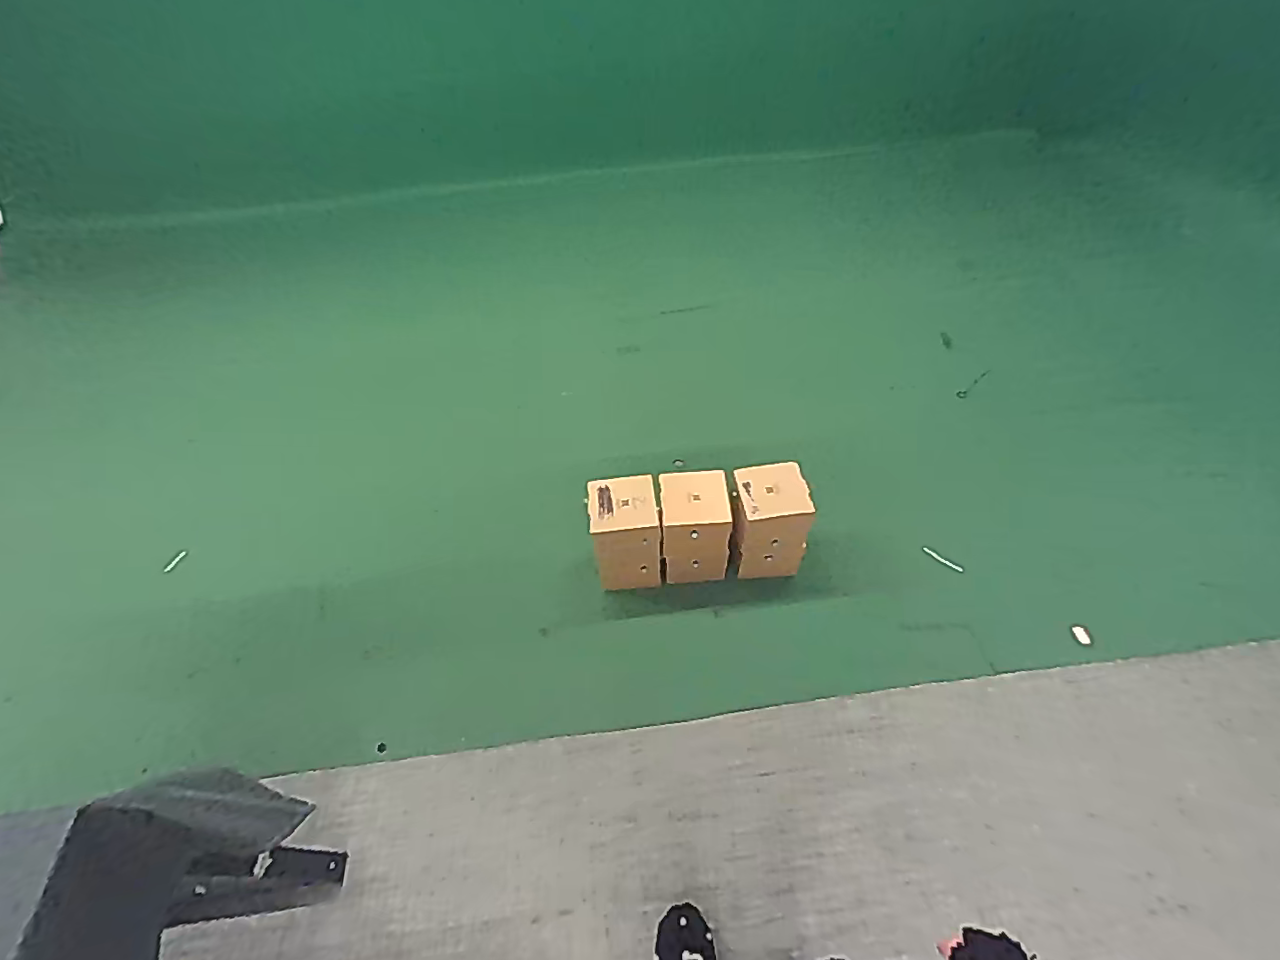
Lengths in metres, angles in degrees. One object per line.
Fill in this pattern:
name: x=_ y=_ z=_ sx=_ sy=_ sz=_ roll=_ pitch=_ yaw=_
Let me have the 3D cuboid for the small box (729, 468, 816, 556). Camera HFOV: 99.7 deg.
small box: x=0.350 y=0.089 z=1.462 sx=0.179 sy=0.176 sz=0.168 roll=-6 pitch=52 yaw=-3
